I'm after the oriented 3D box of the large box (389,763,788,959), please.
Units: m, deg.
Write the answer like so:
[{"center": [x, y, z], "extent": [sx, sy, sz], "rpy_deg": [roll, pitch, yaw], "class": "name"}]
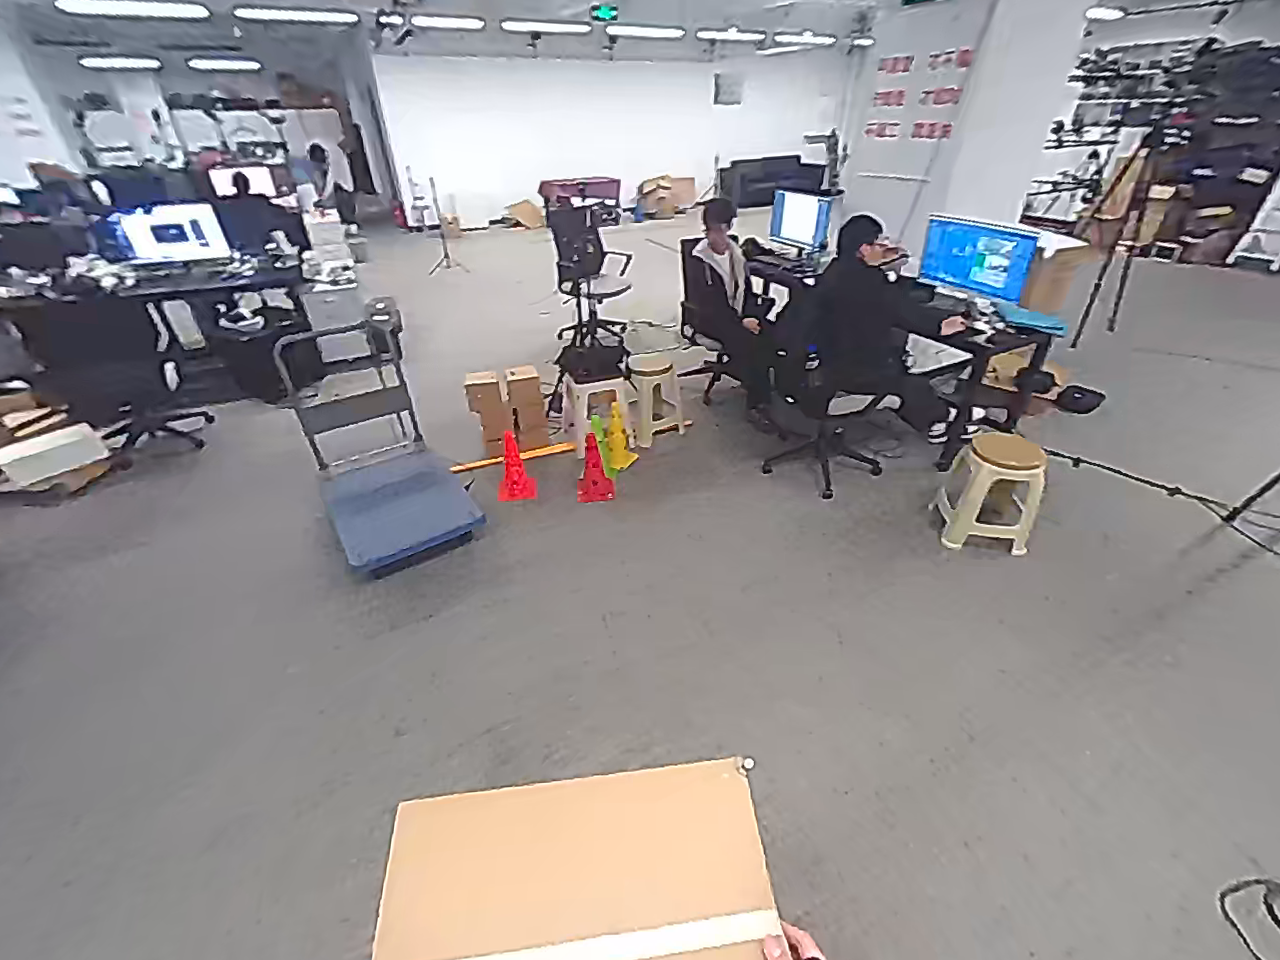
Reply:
[{"center": [-0.053, 0.578, 0.648], "extent": [0.408, 0.320, 0.320], "rpy_deg": [-5, 47, -4], "class": "large box"}]
